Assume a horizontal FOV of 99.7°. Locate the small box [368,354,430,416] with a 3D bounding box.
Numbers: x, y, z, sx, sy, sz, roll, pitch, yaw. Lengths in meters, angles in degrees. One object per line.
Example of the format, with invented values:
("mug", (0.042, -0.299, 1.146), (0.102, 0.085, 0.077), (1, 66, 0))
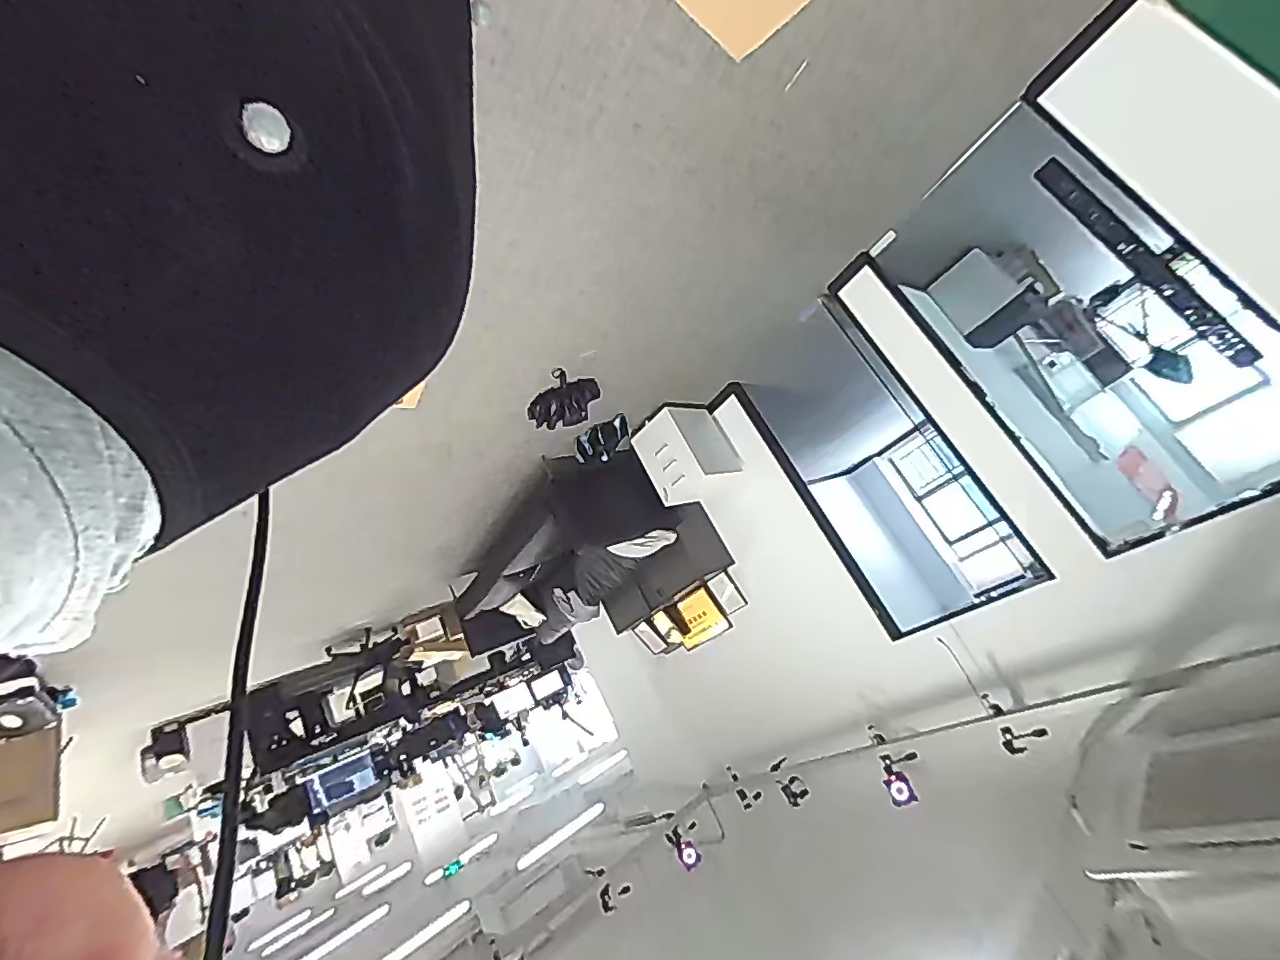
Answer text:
("small box", (-0.956, -0.375, 2.134), (0.168, 0.176, 0.179), (-12, 155, -43))
